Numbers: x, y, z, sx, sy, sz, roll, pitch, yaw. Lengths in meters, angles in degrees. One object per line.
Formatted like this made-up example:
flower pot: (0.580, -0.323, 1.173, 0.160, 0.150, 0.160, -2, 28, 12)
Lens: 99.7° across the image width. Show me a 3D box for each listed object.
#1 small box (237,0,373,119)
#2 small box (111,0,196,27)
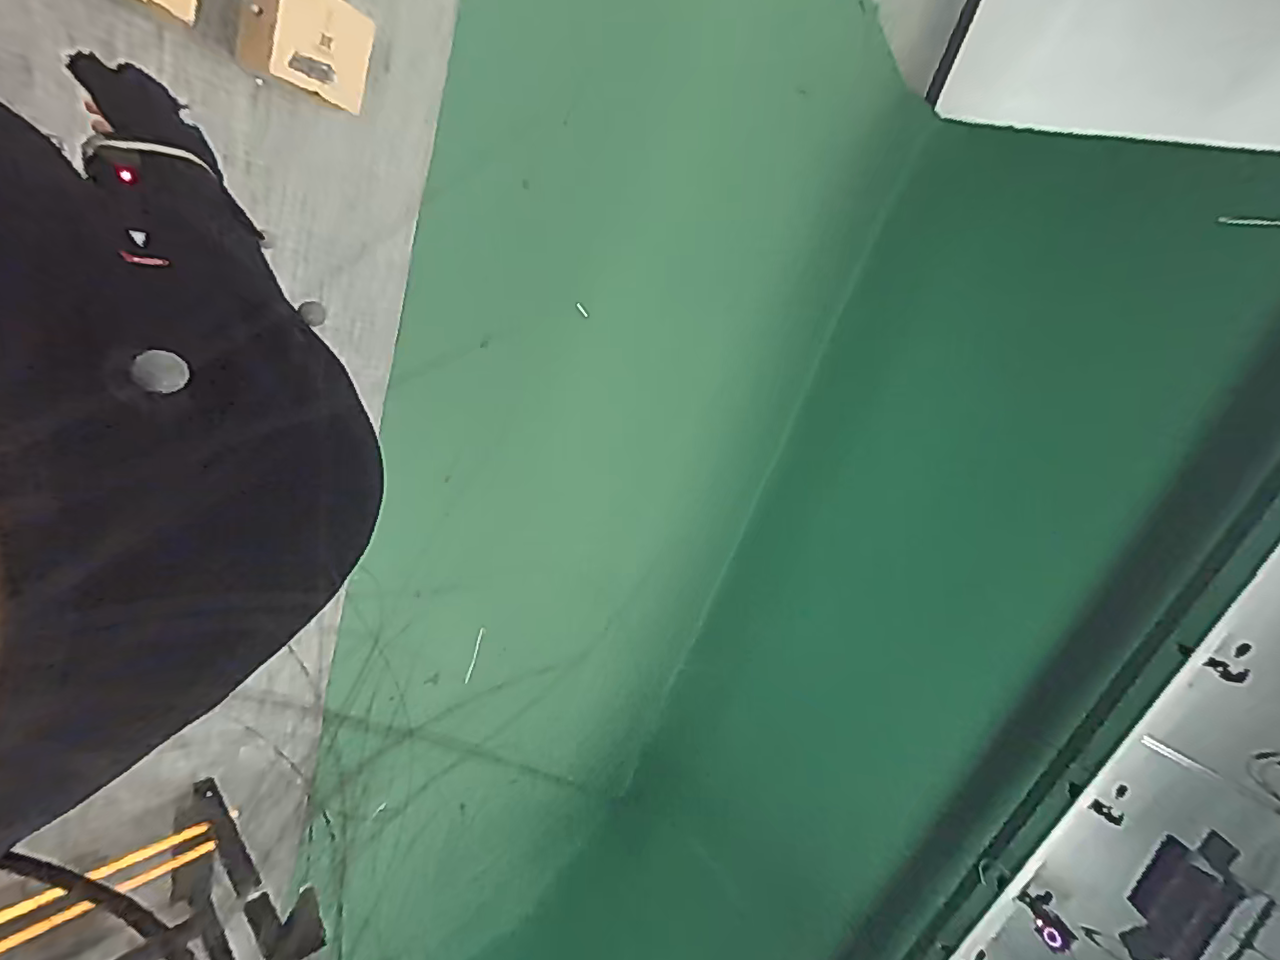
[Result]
small box: (-0.662, -0.851, 1.063, 0.168, 0.176, 0.179, -3, 118, -55)
small box: (-0.812, -0.855, 0.839, 0.168, 0.176, 0.179, -2, 118, -55)
